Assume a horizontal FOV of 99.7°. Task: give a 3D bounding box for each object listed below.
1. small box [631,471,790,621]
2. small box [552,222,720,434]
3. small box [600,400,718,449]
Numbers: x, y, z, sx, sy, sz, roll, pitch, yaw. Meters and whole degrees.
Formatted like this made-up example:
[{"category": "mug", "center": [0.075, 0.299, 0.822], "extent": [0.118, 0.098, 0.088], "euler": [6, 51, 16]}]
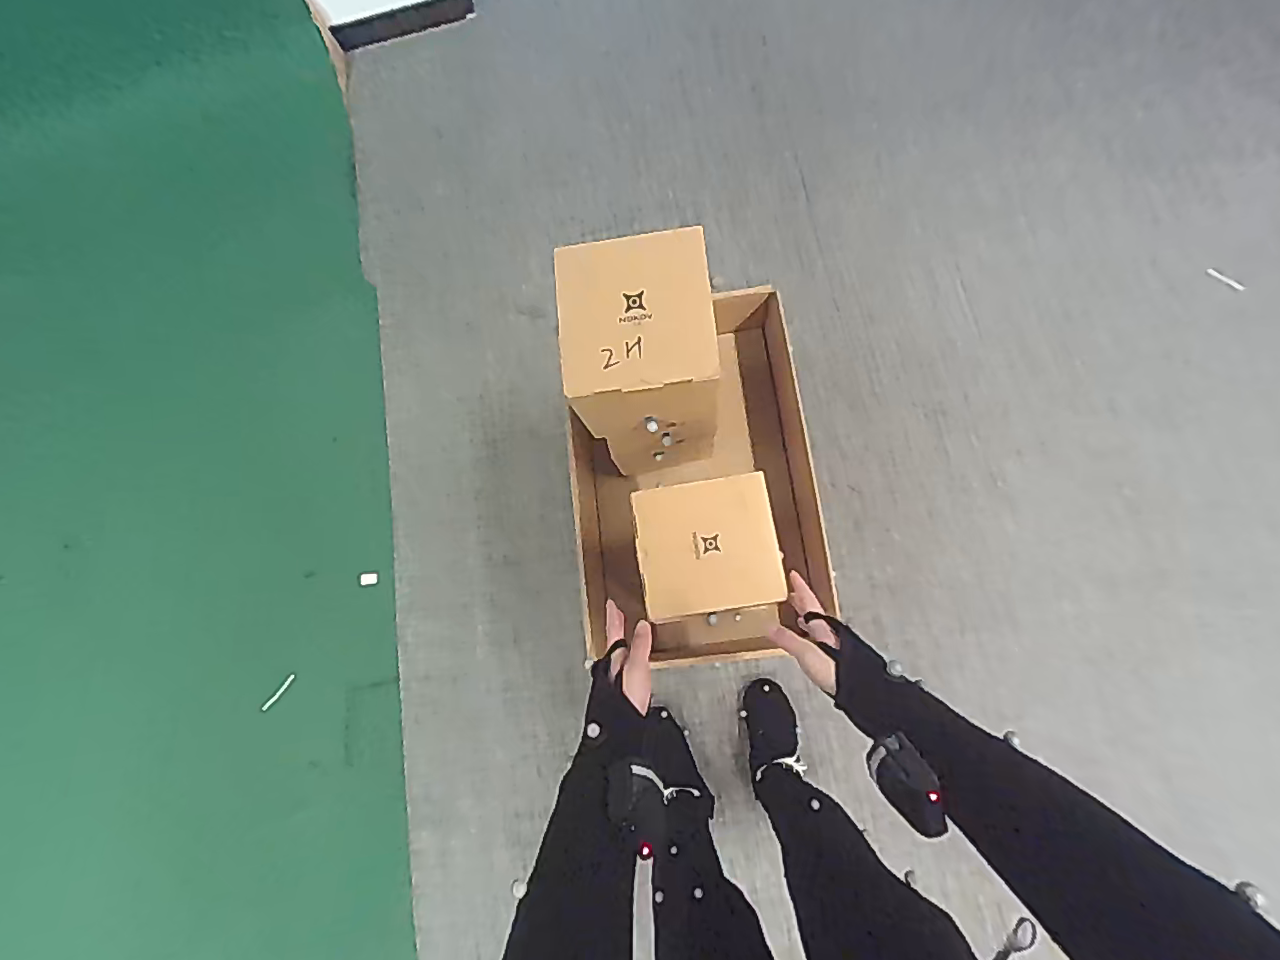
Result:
[{"category": "small box", "center": [0.093, 0.095, 0.746], "extent": [0.179, 0.176, 0.168], "euler": [-10, 77, 5]}, {"category": "small box", "center": [0.001, -0.166, 0.638], "extent": [0.168, 0.176, 0.179], "euler": [-6, 80, 6]}, {"category": "small box", "center": [0.016, -0.153, 0.803], "extent": [0.168, 0.176, 0.179], "euler": [-14, 79, 4]}]
